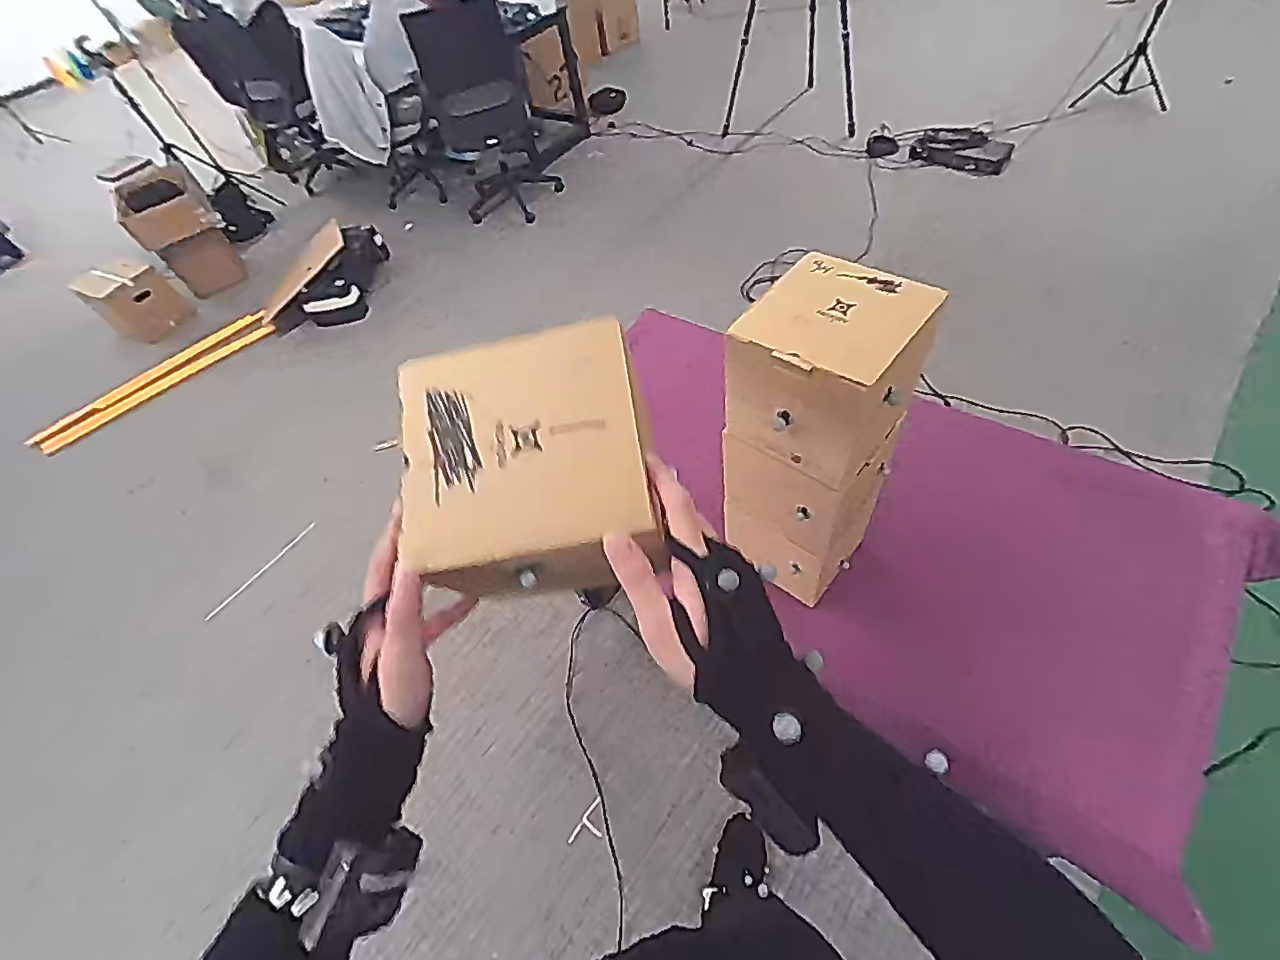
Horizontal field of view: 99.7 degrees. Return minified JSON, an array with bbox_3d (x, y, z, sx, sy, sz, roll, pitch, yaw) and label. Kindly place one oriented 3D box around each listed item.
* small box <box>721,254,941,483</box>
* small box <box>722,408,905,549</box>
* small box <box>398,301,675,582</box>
[{"bbox_3d":[0.215,-0.128,0.637,0.168,0.176,0.179,32,65,29],"label":"small box"},{"bbox_3d":[0.236,-0.027,0.764,0.179,0.176,0.168,32,65,30],"label":"small box"},{"bbox_3d":[-0.074,-0.016,0.453,0.179,0.176,0.168,-10,70,6],"label":"small box"}]
